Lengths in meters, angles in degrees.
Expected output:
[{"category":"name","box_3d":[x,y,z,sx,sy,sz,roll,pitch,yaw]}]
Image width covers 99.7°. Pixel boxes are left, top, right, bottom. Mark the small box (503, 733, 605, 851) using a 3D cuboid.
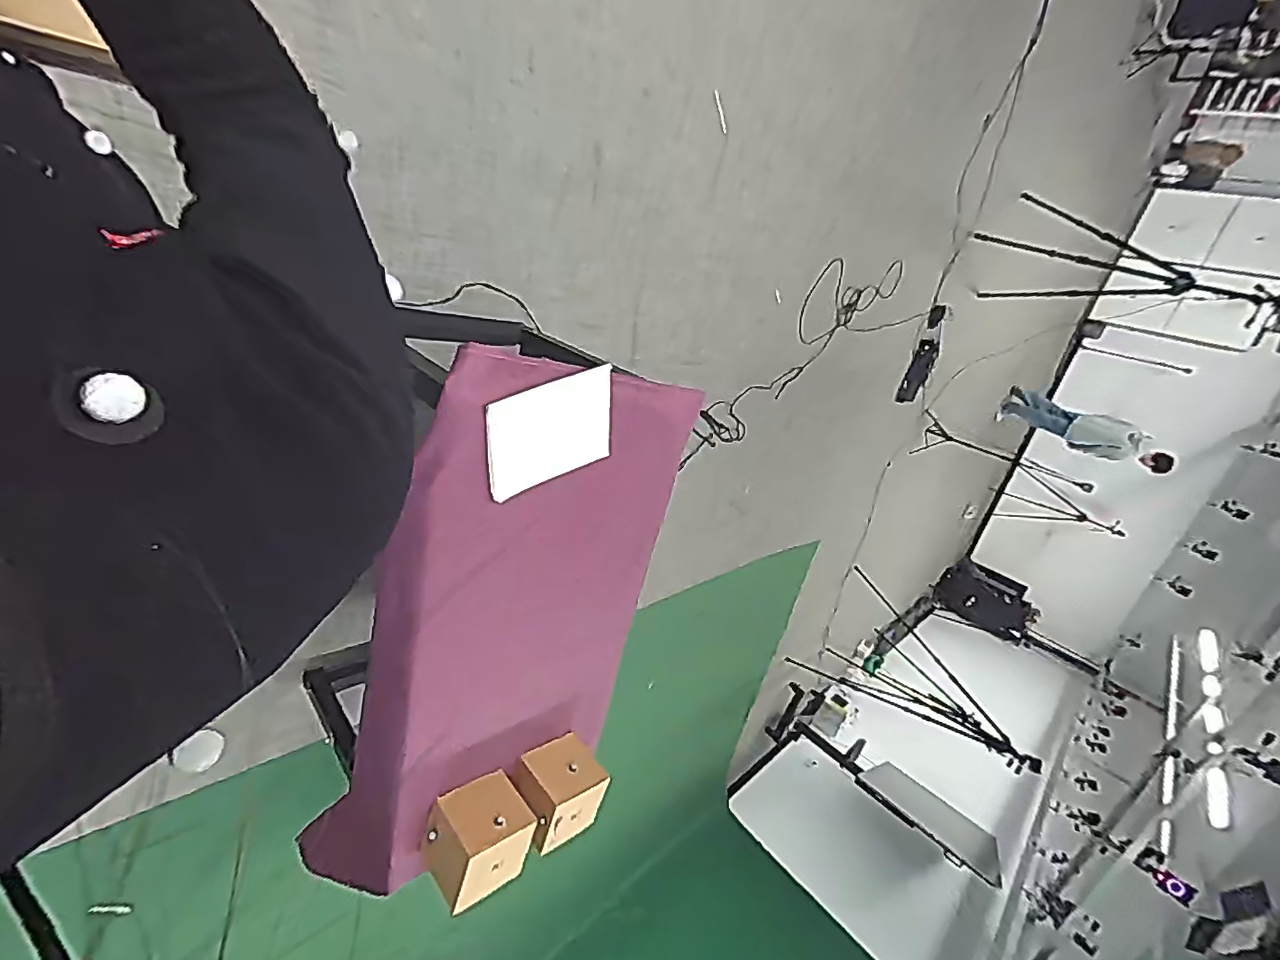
[{"category":"small box","box_3d":[-0.225,0.797,1.404,0.179,0.176,0.168,-1,115,-49]}]
